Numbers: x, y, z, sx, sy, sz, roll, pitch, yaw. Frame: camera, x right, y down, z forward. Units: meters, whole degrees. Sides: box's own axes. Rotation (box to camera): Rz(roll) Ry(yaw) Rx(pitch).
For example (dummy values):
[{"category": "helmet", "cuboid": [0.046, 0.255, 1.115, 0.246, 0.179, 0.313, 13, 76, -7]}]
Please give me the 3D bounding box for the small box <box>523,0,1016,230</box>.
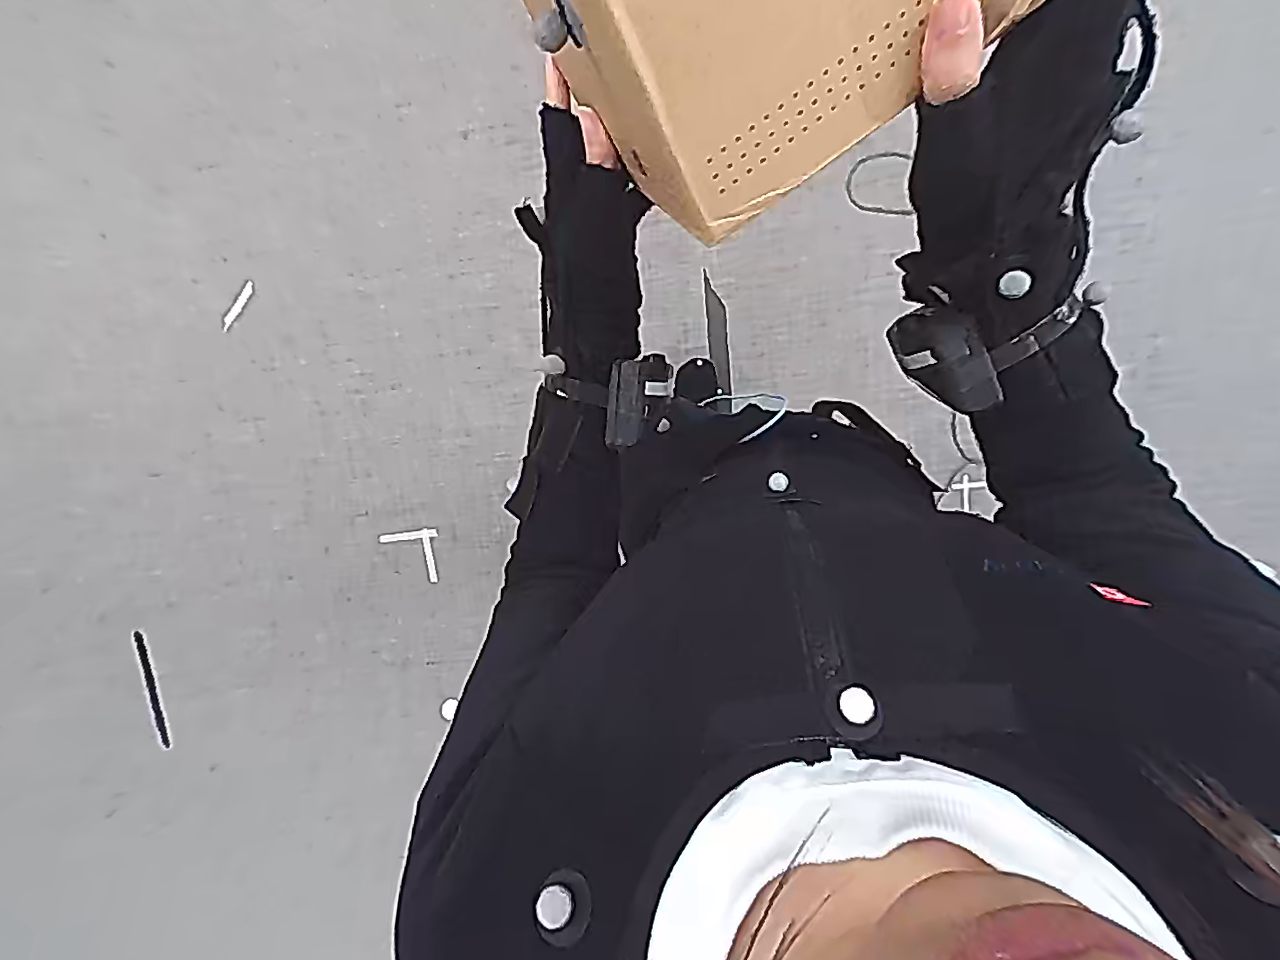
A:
[{"category": "small box", "cuboid": [0.035, -0.247, 0.235, 0.179, 0.168, 0.176, -33, 134, 10]}]
